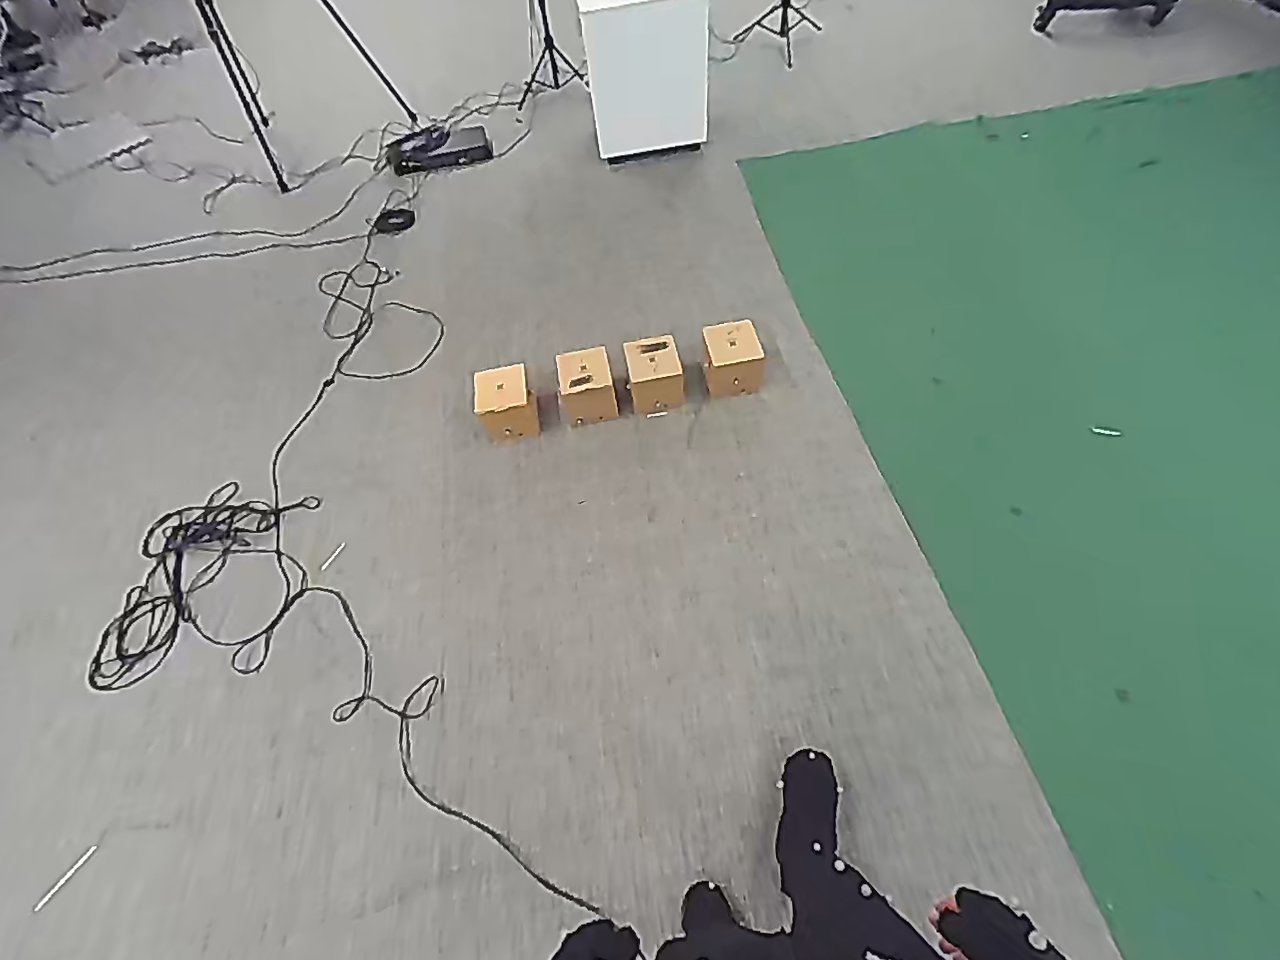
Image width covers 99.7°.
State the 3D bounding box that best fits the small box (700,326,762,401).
[{"bbox_3d":[0.300,-0.383,1.810,0.168,0.176,0.179,-10,58,-1],"label":"small box"}]

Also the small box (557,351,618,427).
[{"bbox_3d":[-0.172,-0.294,1.800,0.168,0.176,0.179,-12,57,-1],"label":"small box"}]

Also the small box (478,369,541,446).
[{"bbox_3d":[-0.432,-0.237,1.794,0.168,0.176,0.179,-11,58,-1],"label":"small box"}]
